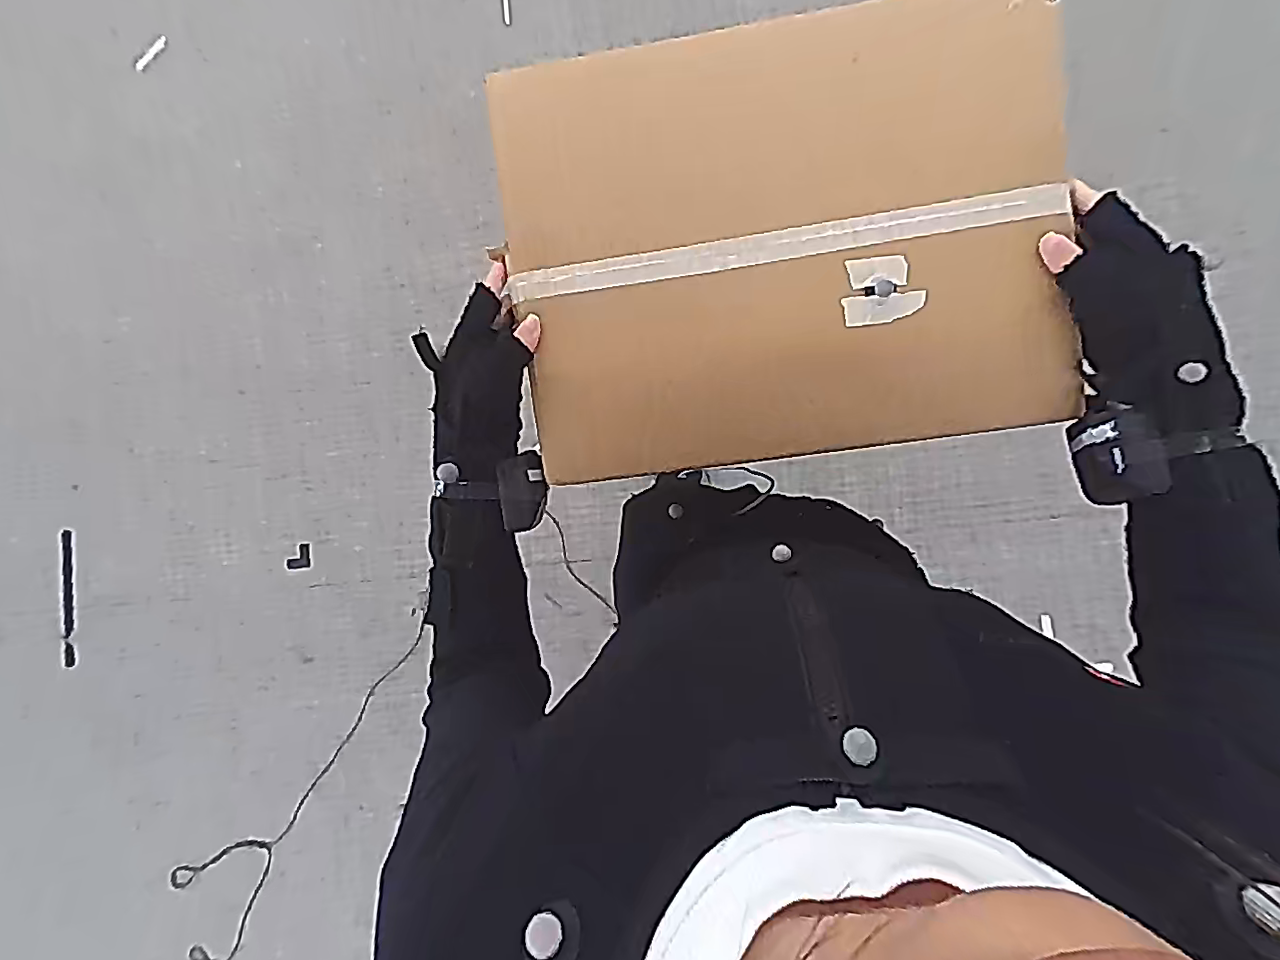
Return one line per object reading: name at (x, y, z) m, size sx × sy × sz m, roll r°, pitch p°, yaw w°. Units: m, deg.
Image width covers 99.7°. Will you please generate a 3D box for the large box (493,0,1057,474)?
large box at (0.109, -0.195, 0.563) m, size 0.408 × 0.320 × 0.320 m, roll -8°, pitch 95°, yaw 4°
